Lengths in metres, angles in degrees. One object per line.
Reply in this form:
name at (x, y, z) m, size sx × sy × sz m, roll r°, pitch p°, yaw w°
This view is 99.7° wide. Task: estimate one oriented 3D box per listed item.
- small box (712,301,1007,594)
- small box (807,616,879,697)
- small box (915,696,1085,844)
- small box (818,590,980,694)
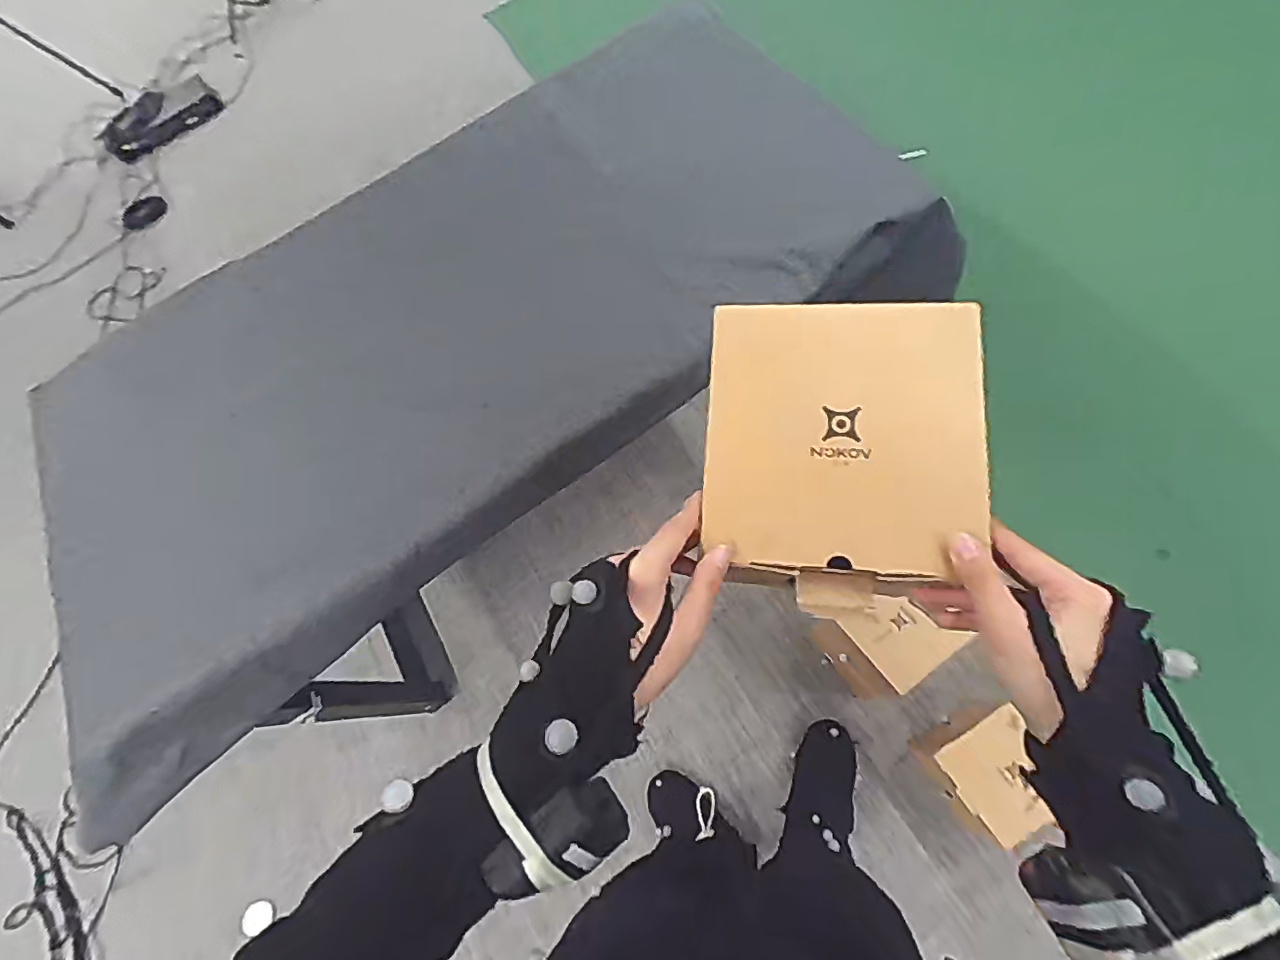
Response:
small box at (0.142, -0.012, 0.406) m, size 0.168 × 0.176 × 0.179 m, roll 3°, pitch 78°, yaw 10°
small box at (0.460, 0.314, 1.093) m, size 0.179 × 0.176 × 0.168 m, roll -37°, pitch 66°, yaw -4°
small box at (0.631, 0.514, 0.982) m, size 0.179 × 0.176 × 0.168 m, roll -33°, pitch 68°, yaw -1°
small box at (0.435, 0.249, 0.944) m, size 0.179 × 0.176 × 0.168 m, roll -37°, pitch 66°, yaw -4°
